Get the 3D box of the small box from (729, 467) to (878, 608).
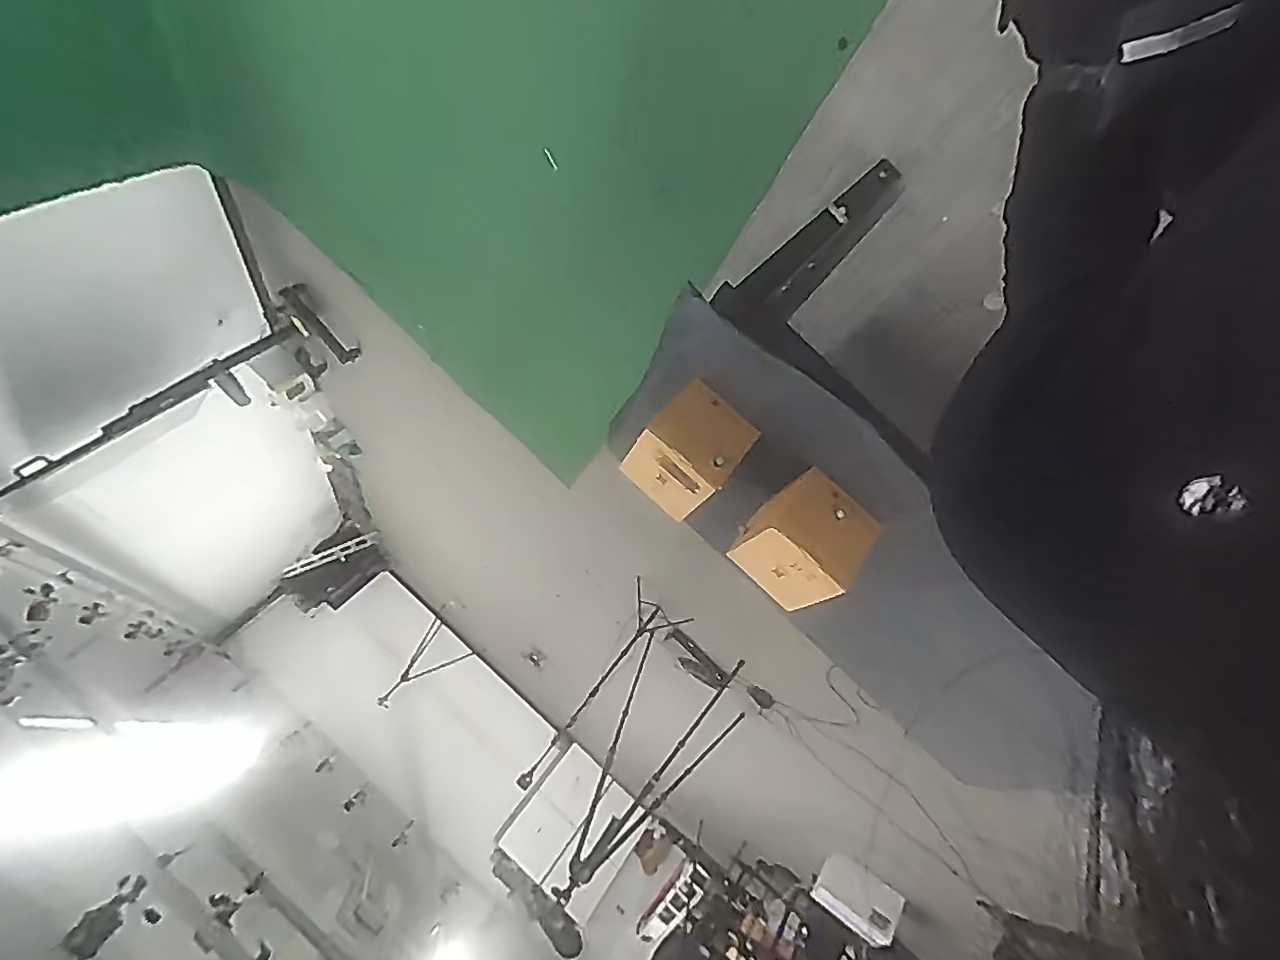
[{"bbox_3d":[0.306,0.108,1.009,0.168,0.176,0.179,42,149,1],"label":"small box"}]
